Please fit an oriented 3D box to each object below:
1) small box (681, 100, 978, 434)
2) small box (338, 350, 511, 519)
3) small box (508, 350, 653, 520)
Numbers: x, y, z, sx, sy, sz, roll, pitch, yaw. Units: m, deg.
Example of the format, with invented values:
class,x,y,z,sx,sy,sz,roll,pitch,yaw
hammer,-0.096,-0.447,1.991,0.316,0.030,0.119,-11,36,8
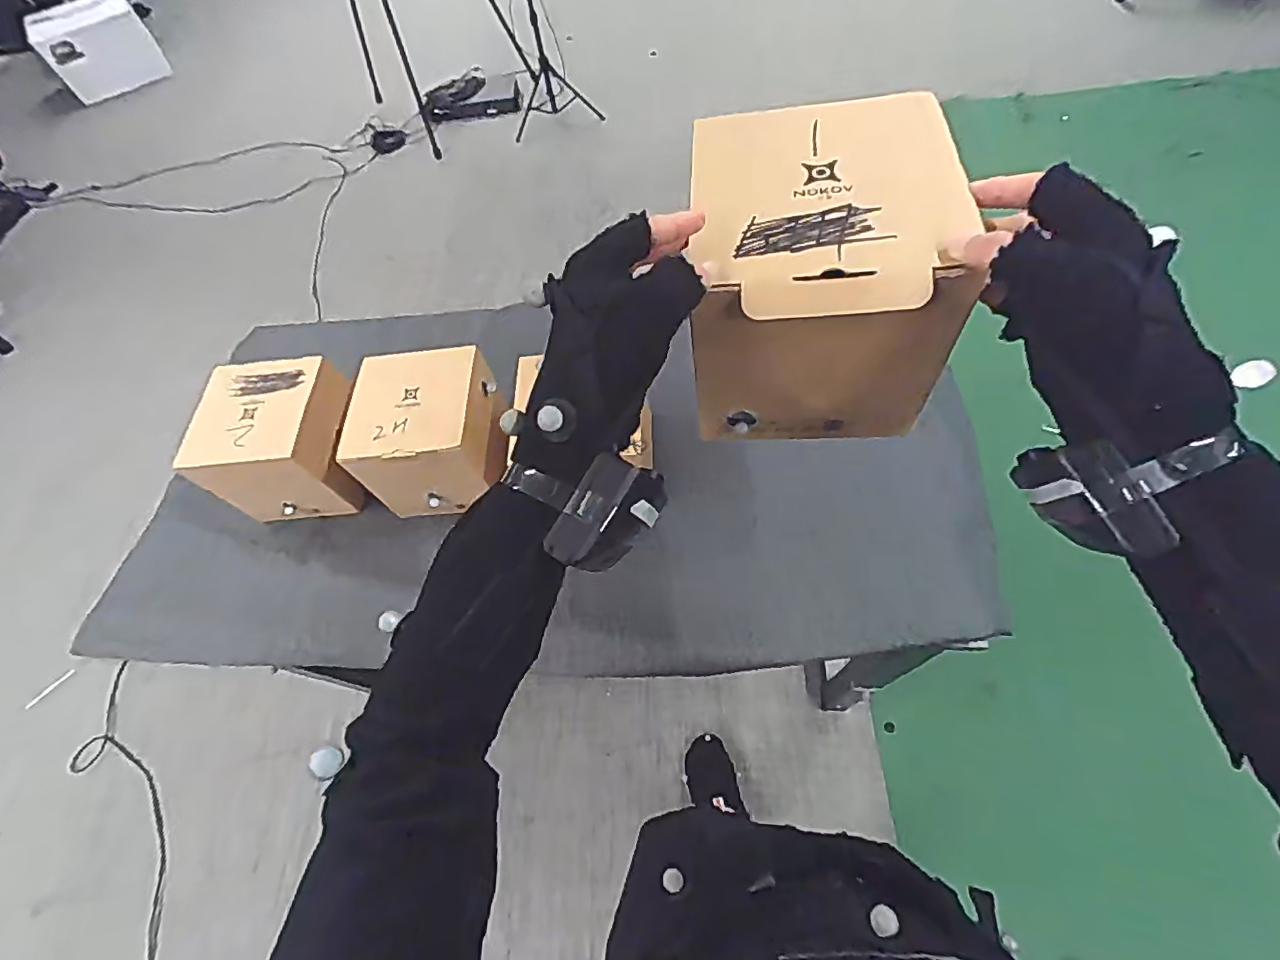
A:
class,x,y,z,sx,sy,sz,roll,pitch,yaw
small box,0.124,-0.146,0.415,0.168,0.176,0.179,-1,61,9
small box,-0.294,-0.061,0.784,0.168,0.176,0.179,-5,60,5
small box,-0.072,-0.052,0.753,0.168,0.176,0.179,-4,59,5
